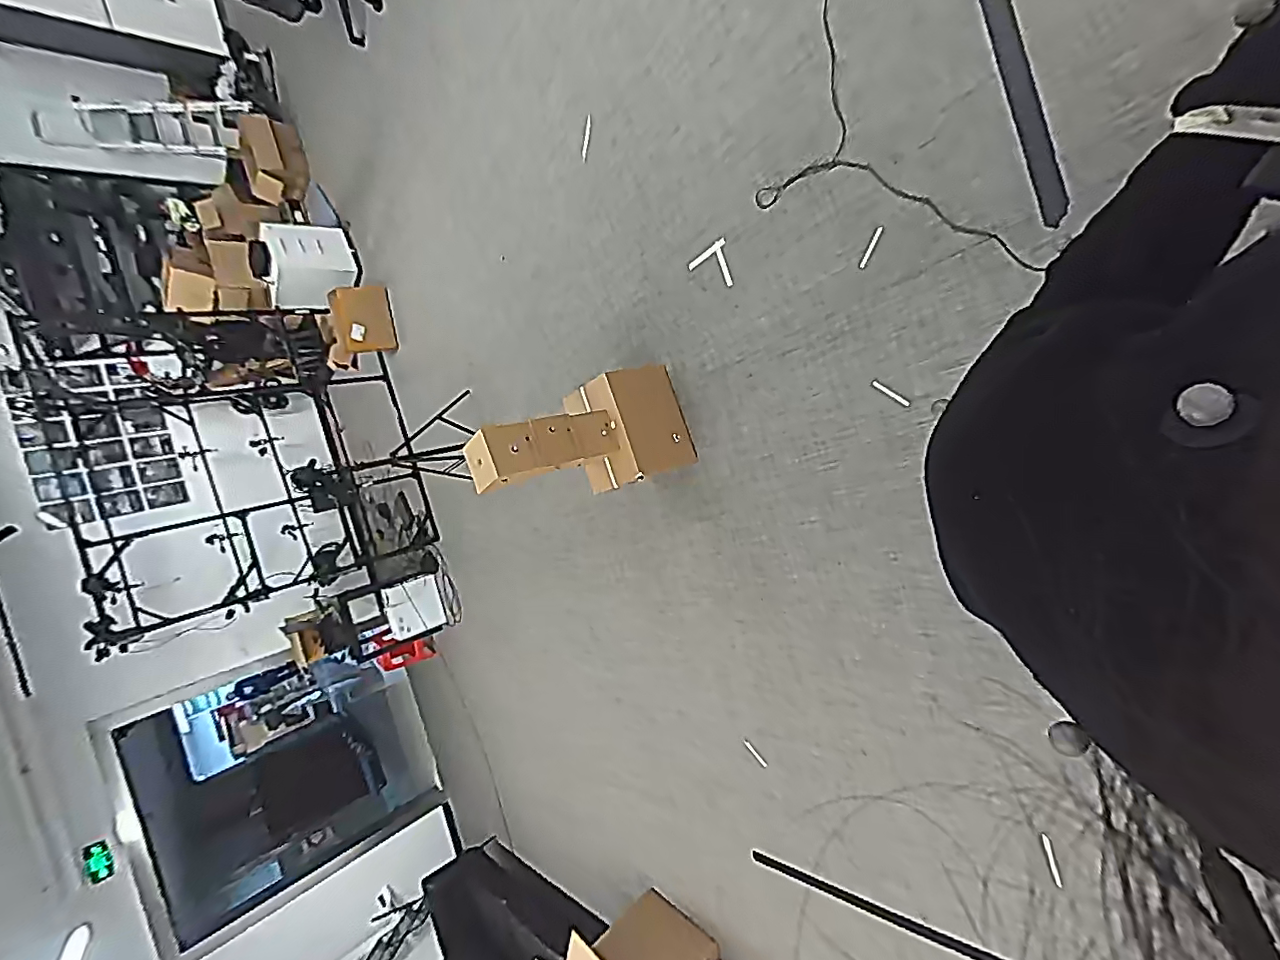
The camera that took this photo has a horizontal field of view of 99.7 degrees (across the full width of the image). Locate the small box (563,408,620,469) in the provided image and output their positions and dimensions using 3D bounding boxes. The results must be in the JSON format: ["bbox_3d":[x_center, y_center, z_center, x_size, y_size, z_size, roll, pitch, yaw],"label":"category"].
[{"bbox_3d":[-0.202,-0.152,1.971,0.179,0.176,0.168,-22,87,49],"label":"small box"}]

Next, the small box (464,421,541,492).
[{"bbox_3d":[-0.441,-0.078,1.759,0.179,0.176,0.168,-30,79,49],"label":"small box"}]

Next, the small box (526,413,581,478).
[{"bbox_3d":[-0.319,-0.121,1.863,0.179,0.176,0.168,-24,84,51],"label":"small box"}]
